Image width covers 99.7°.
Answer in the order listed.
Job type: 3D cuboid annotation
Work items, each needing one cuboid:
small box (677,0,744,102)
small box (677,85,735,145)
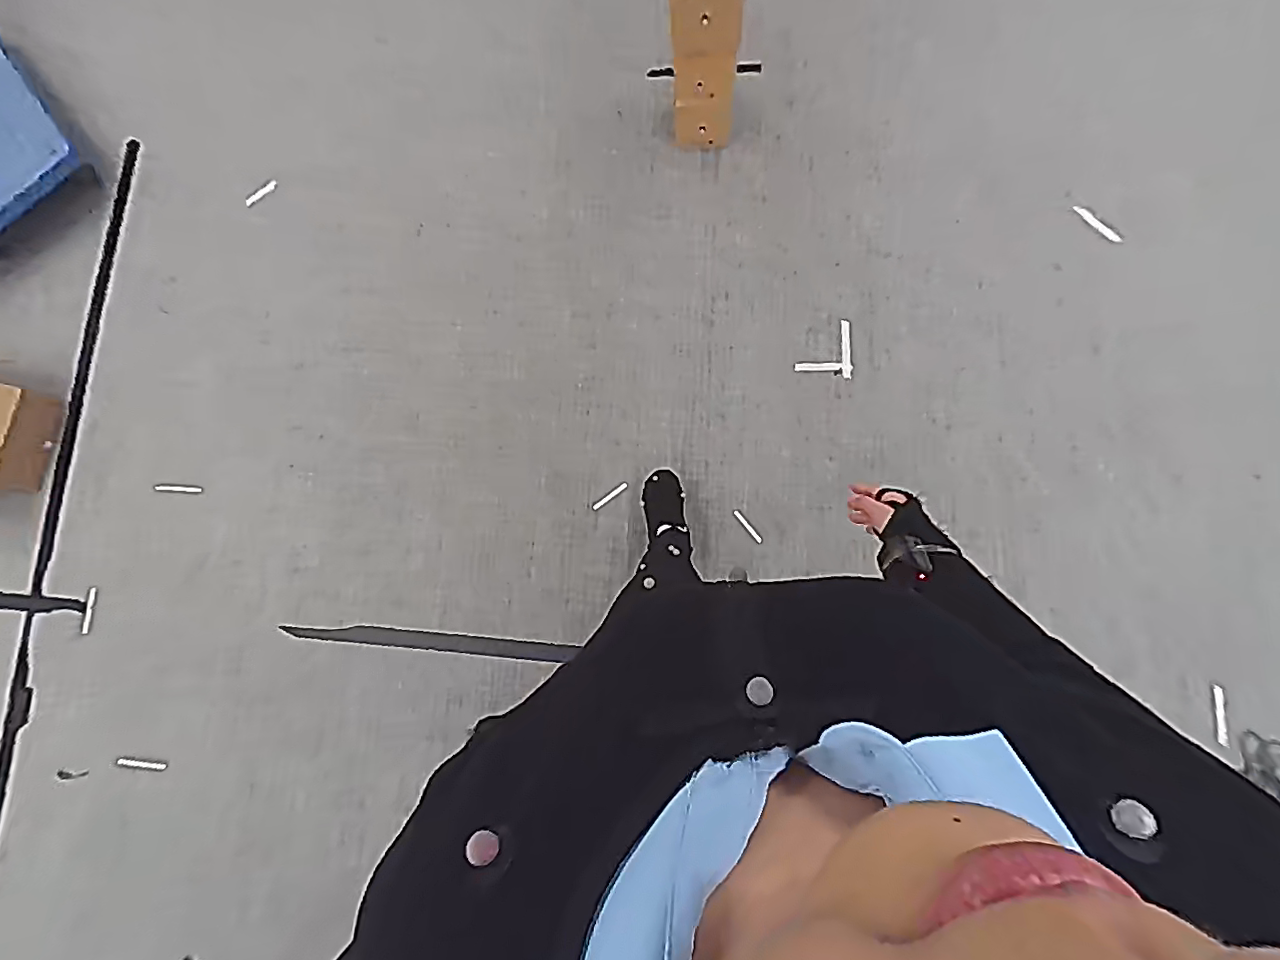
[{"bbox_3d":[0.187,-1.166,1.457,0.168,0.176,0.179,3,82,7],"label":"small box"},{"bbox_3d":[0.199,-1.133,1.617,0.168,0.176,0.179,0,81,6],"label":"small box"}]
